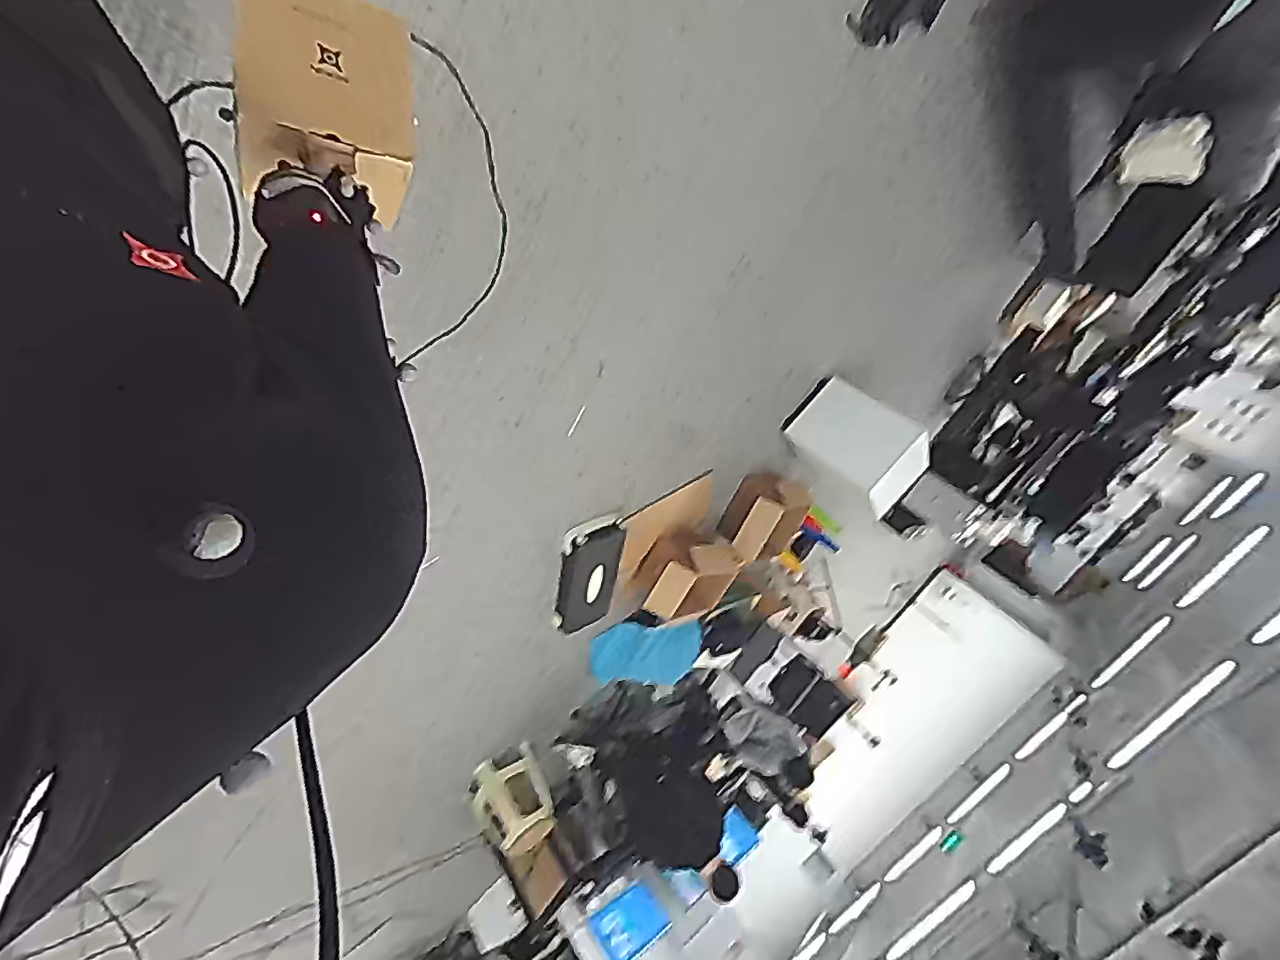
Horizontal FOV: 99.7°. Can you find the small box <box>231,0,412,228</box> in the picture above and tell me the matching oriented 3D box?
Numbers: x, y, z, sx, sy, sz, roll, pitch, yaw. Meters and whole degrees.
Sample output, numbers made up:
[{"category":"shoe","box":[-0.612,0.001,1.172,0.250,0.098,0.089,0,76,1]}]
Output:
[{"category":"small box","box":[-0.373,-0.427,0.632,0.168,0.176,0.179,-2,86,-36]}]
